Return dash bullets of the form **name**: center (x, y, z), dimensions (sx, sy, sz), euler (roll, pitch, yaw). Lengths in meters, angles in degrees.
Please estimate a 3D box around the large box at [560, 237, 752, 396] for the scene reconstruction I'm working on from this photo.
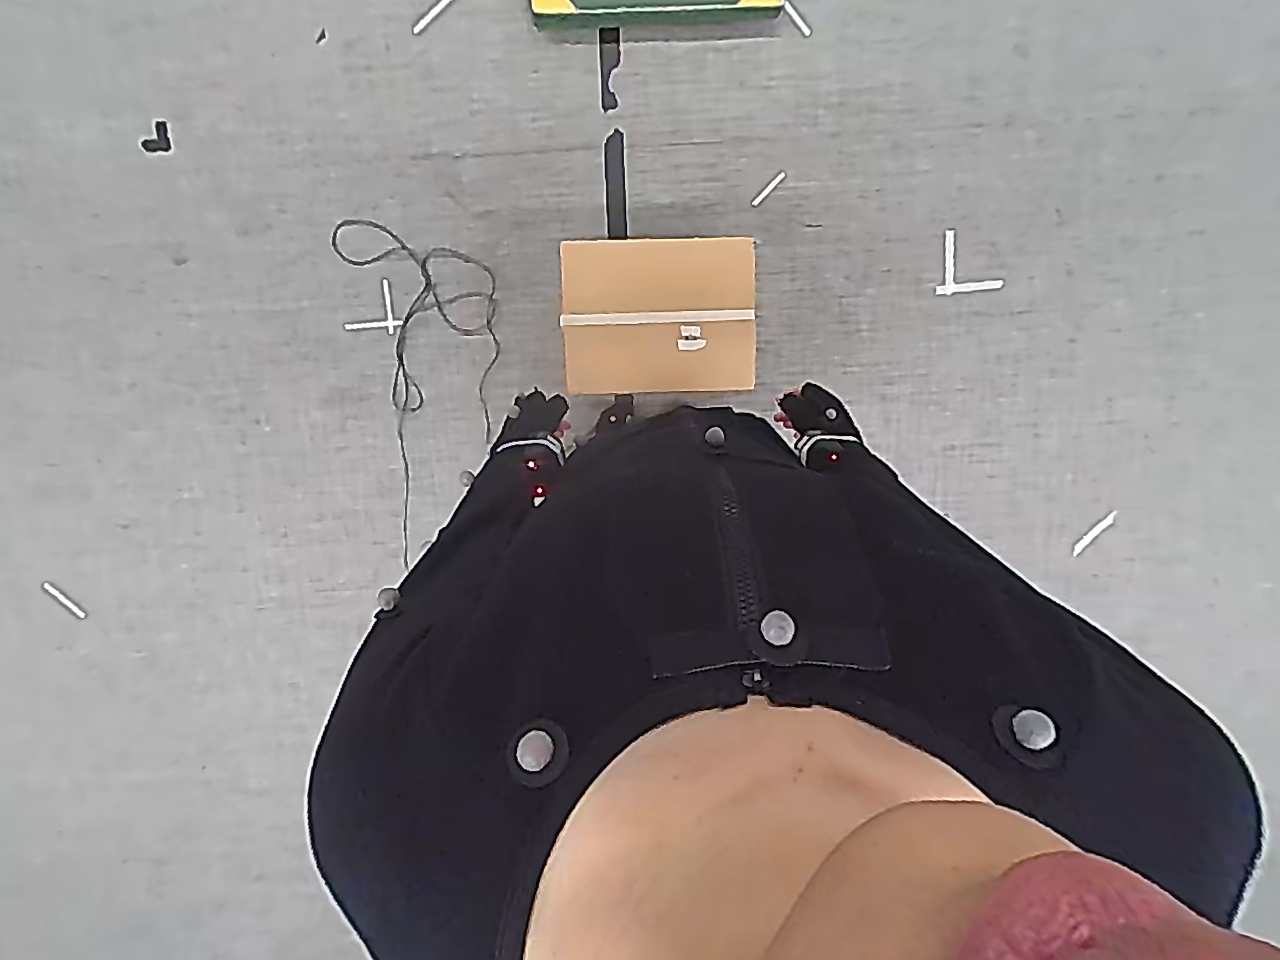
- **large box**: center (0.032, -0.368, 1.293), dimensions (0.408, 0.320, 0.320), euler (-2, 99, -1)
